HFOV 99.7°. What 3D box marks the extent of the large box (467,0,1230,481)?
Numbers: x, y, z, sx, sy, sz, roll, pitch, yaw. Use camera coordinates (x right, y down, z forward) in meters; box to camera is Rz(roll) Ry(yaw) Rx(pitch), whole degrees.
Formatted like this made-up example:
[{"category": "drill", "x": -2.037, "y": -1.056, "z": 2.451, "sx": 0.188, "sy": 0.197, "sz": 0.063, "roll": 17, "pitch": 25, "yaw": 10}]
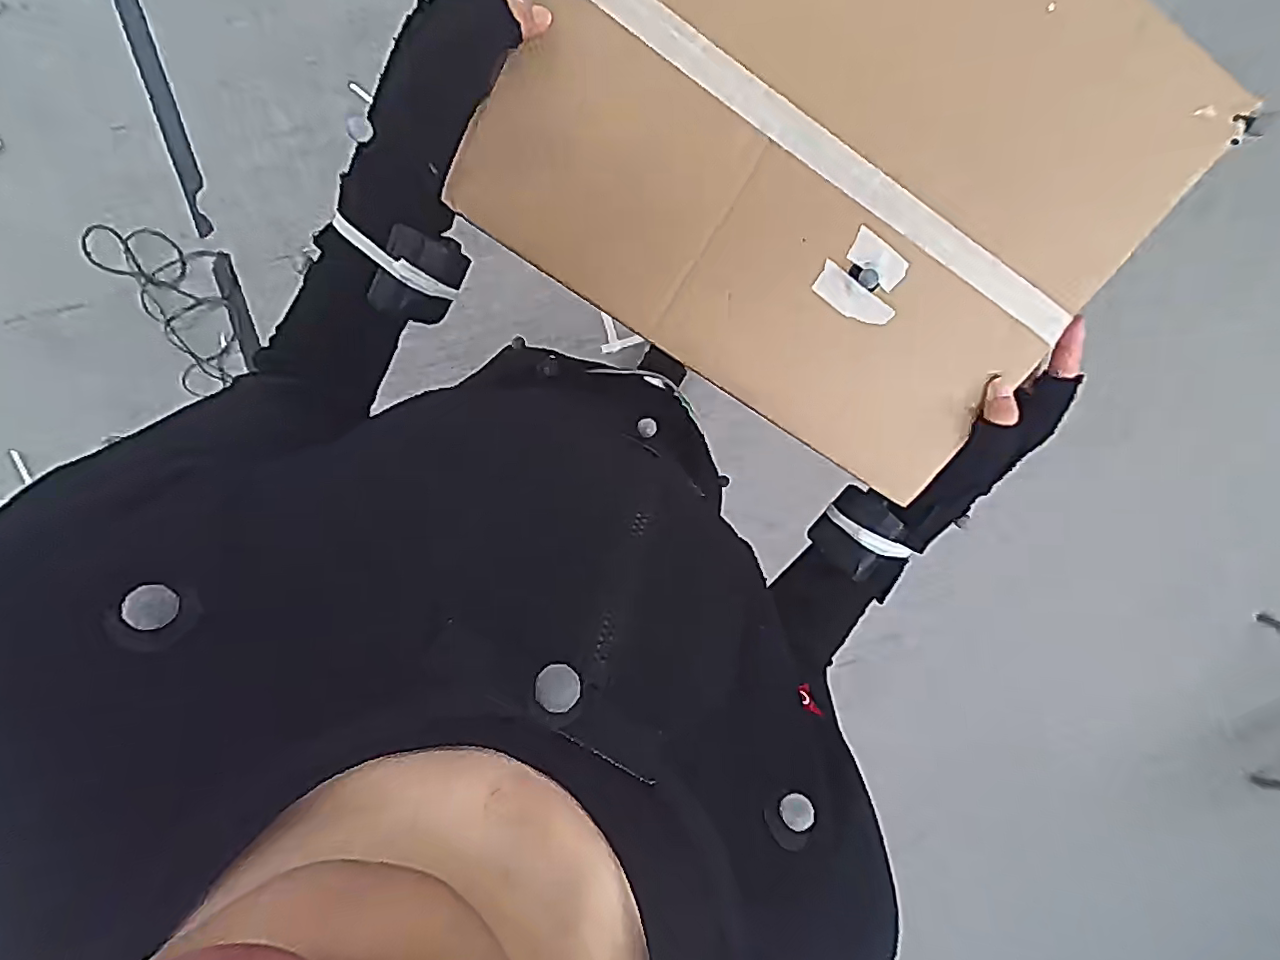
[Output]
[{"category": "large box", "x": 0.129, "y": -0.266, "z": 0.494, "sx": 0.408, "sy": 0.320, "sz": 0.320, "roll": 31, "pitch": 110, "yaw": -9}]
